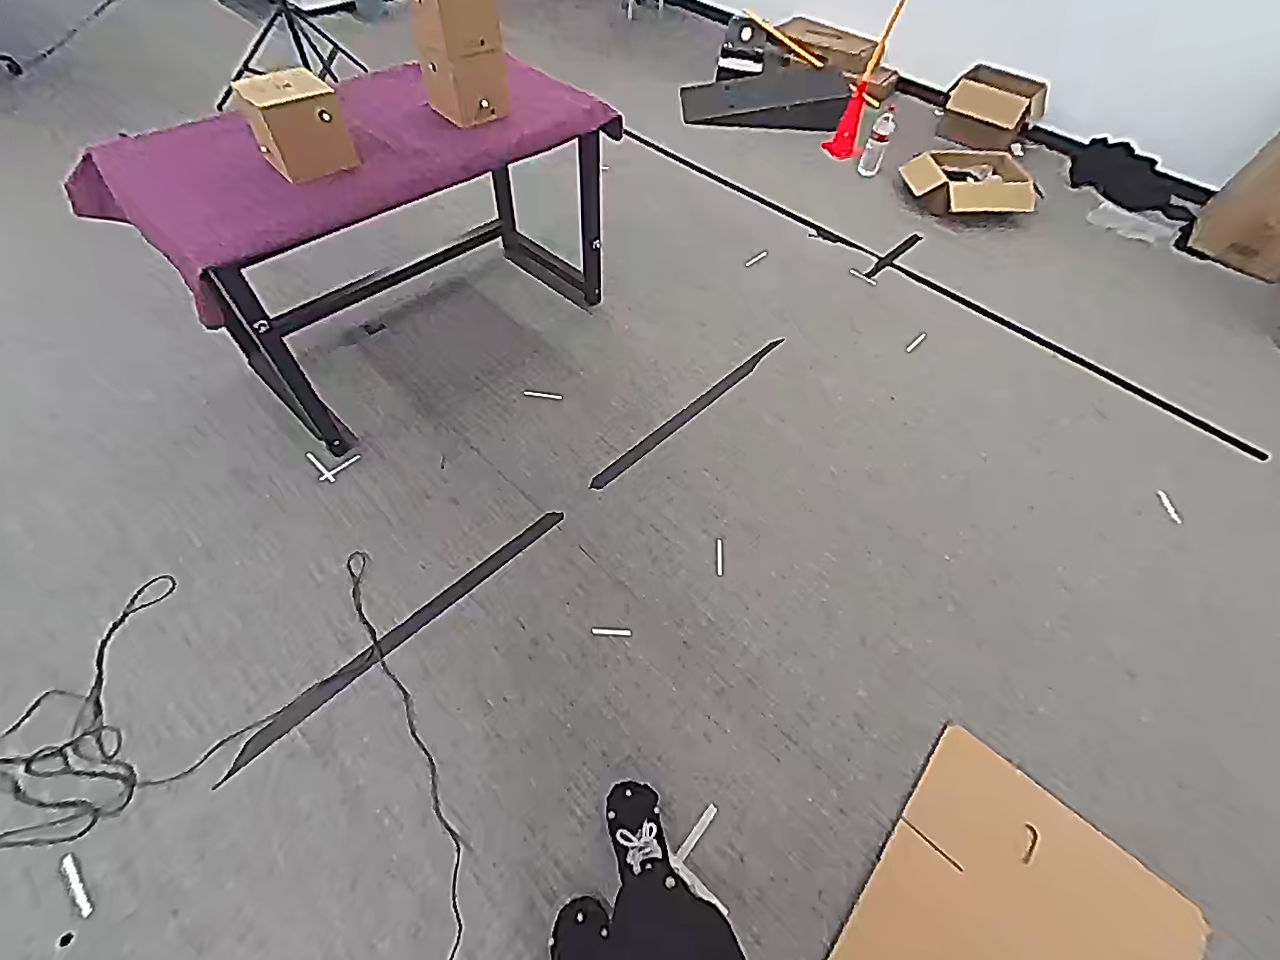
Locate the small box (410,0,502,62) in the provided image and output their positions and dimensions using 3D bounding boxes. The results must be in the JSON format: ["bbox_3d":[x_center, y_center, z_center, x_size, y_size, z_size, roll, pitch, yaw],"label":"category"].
[{"bbox_3d":[-0.480,-1.209,1.389,0.168,0.176,0.179,-35,64,-23],"label":"small box"}]

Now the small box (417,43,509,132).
[{"bbox_3d":[-0.492,-1.119,1.525,0.168,0.176,0.179,-37,66,-25],"label":"small box"}]

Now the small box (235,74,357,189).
[{"bbox_3d":[-0.821,-0.845,1.314,0.179,0.176,0.168,-36,64,-25],"label":"small box"}]
